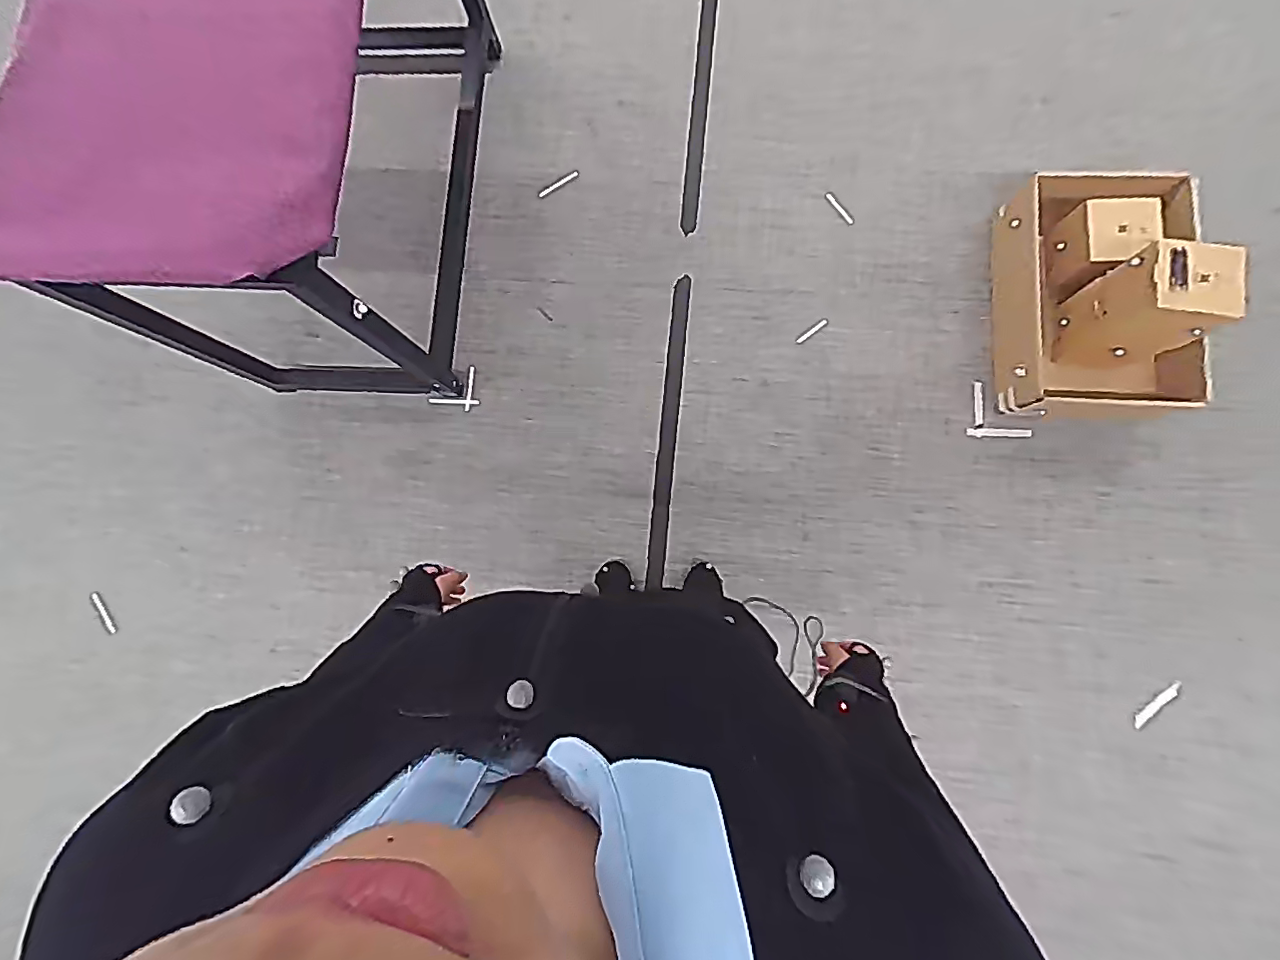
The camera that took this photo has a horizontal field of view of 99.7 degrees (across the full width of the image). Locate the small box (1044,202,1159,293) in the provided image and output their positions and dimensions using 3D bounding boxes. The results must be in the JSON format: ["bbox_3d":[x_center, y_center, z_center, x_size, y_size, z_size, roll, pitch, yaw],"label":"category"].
[{"bbox_3d":[1.206,-0.607,1.429,0.179,0.176,0.168,2,84,4],"label":"small box"}]

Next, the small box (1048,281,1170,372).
[{"bbox_3d":[1.211,-0.391,1.404,0.179,0.176,0.168,8,81,5],"label":"small box"}]
